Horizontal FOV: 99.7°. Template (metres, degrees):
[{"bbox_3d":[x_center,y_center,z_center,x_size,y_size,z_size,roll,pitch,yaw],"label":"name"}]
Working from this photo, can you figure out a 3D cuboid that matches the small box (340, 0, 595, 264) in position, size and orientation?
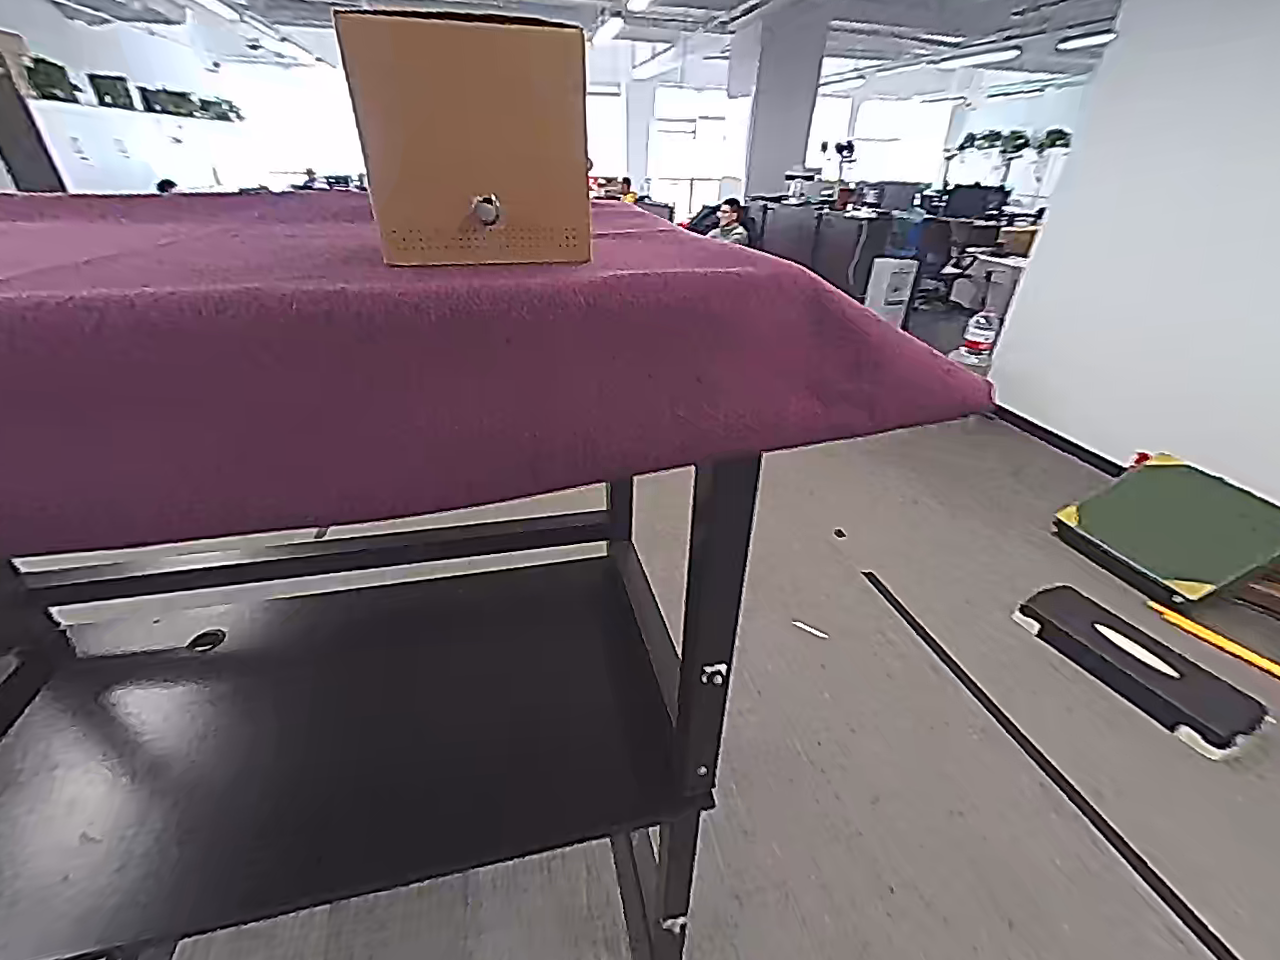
[{"bbox_3d":[-0.138,-0.297,0.488,0.179,0.176,0.168,-5,30,-12],"label":"small box"}]
